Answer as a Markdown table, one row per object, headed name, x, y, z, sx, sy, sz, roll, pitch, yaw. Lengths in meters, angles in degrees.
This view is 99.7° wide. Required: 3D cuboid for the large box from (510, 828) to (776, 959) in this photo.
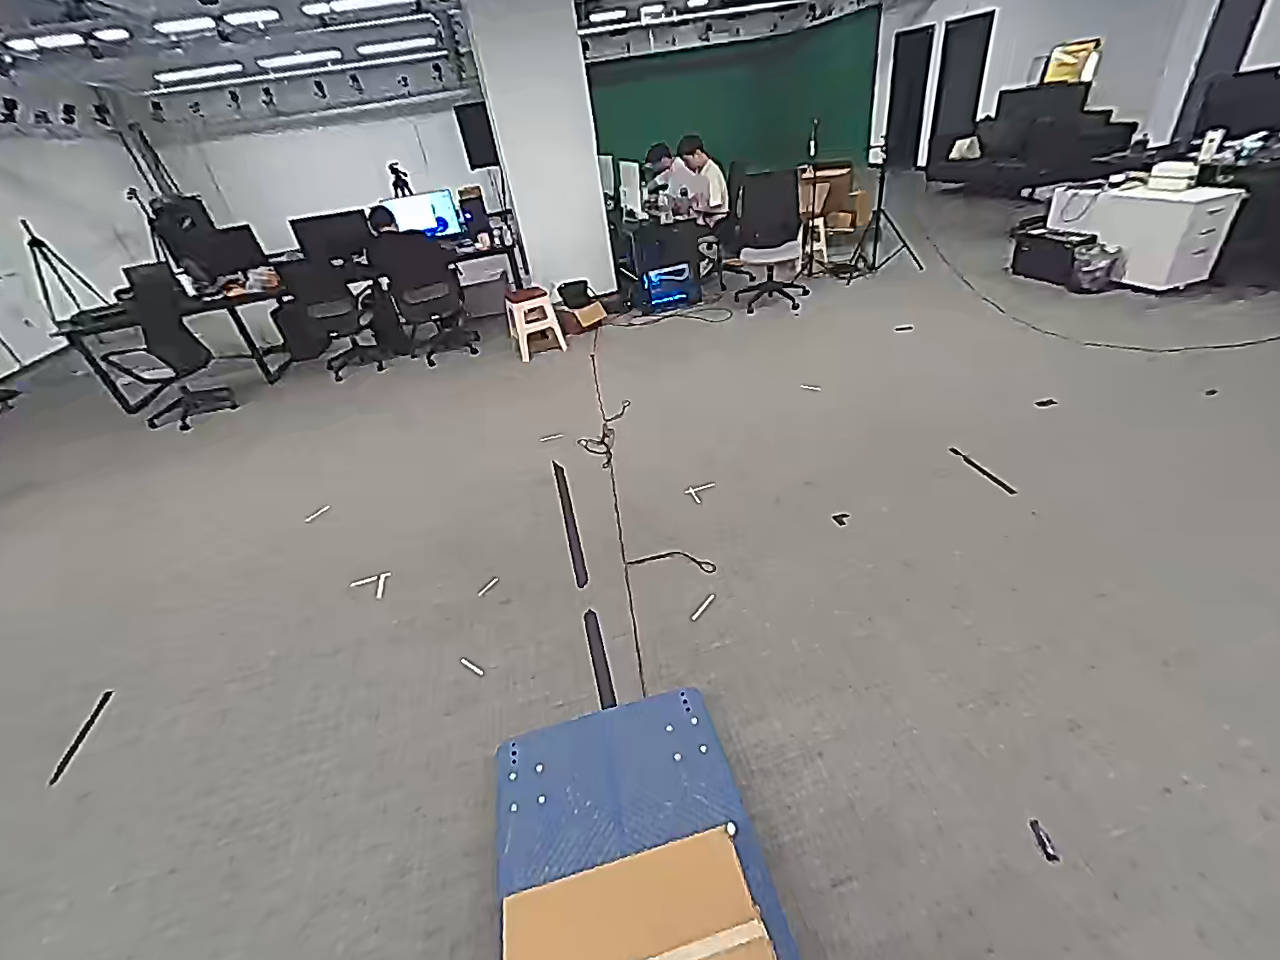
| name | x | y | z | sx | sy | sz | roll | pitch | yaw |
| --- | --- | --- | --- | --- | --- | --- | --- | --- | --- |
| large box | 0.024 | 0.874 | 0.901 | 0.408 | 0.320 | 0.320 | -14 | 35 | -7 |
